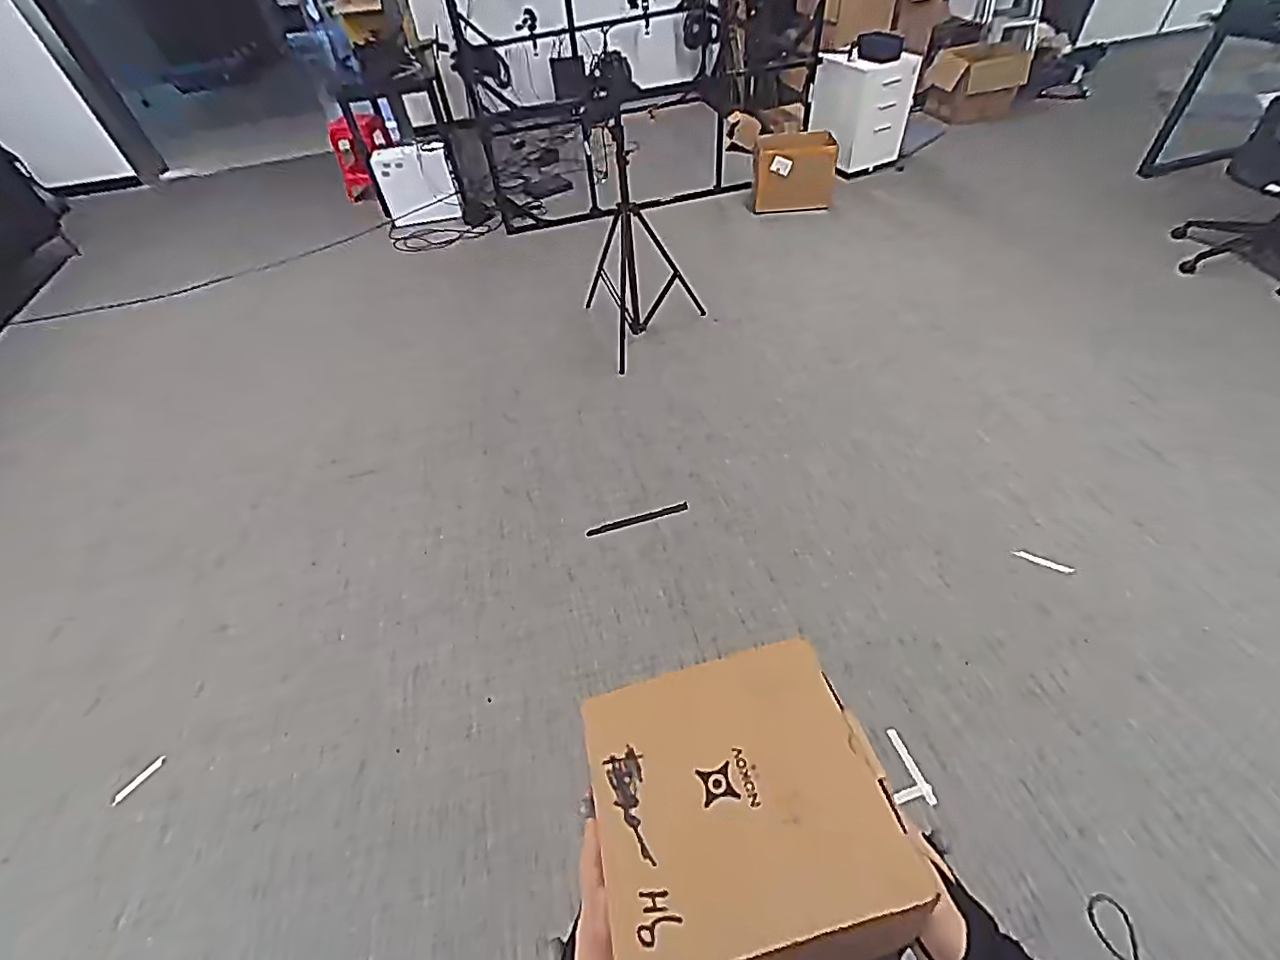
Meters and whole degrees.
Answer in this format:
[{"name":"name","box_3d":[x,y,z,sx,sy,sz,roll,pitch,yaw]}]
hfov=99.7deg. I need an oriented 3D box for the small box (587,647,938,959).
[{"name":"small box","box_3d":[0.069,0.253,0.387,0.179,0.176,0.168,-13,38,-4]}]
